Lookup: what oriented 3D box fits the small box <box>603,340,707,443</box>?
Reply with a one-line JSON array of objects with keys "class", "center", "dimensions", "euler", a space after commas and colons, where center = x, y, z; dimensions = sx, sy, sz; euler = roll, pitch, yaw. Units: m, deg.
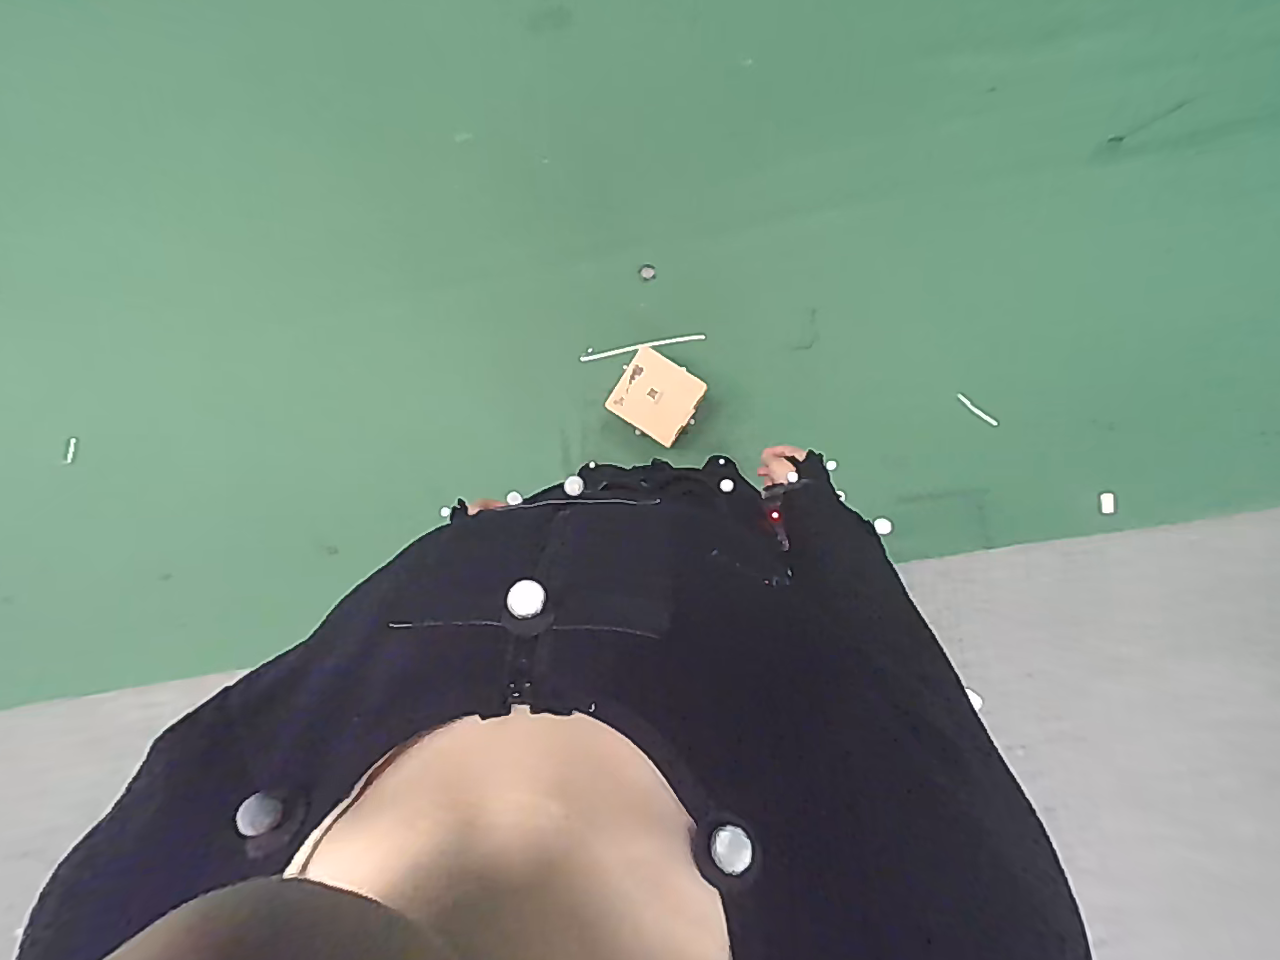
[{"class": "small box", "center": [0.038, -0.203, 1.271], "dimensions": [0.179, 0.176, 0.168], "euler": [34, 95, 1]}]
